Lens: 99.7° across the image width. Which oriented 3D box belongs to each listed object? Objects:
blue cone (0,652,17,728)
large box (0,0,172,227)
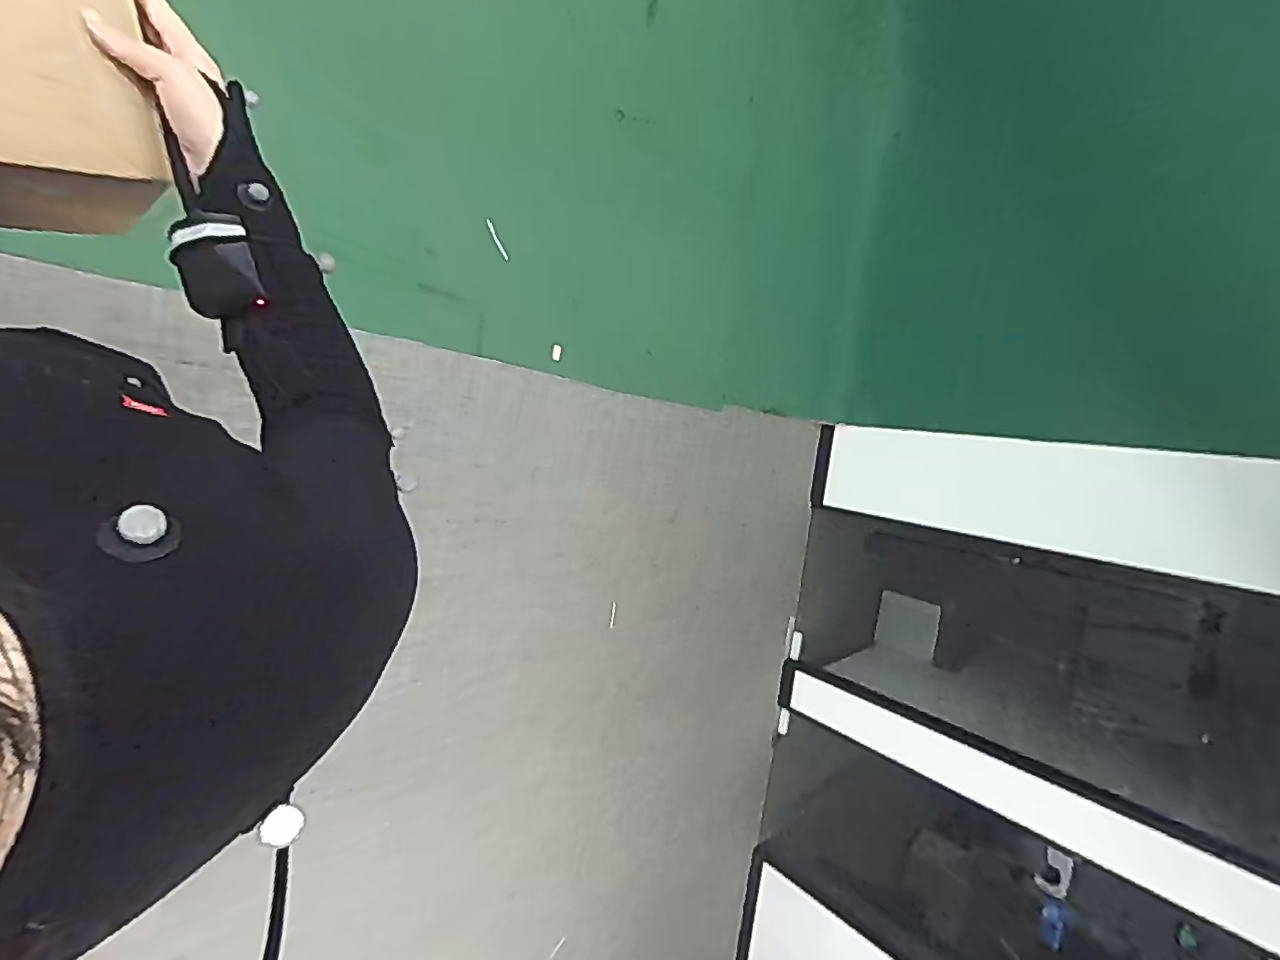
[{"bbox_3d":[-1.168,0.430,0.862,0.193,0.380,0.192,15,87,-45],"label":"blue cone"},{"bbox_3d":[-0.609,-0.358,0.328,0.408,0.320,0.320,-19,114,-46],"label":"large box"}]
